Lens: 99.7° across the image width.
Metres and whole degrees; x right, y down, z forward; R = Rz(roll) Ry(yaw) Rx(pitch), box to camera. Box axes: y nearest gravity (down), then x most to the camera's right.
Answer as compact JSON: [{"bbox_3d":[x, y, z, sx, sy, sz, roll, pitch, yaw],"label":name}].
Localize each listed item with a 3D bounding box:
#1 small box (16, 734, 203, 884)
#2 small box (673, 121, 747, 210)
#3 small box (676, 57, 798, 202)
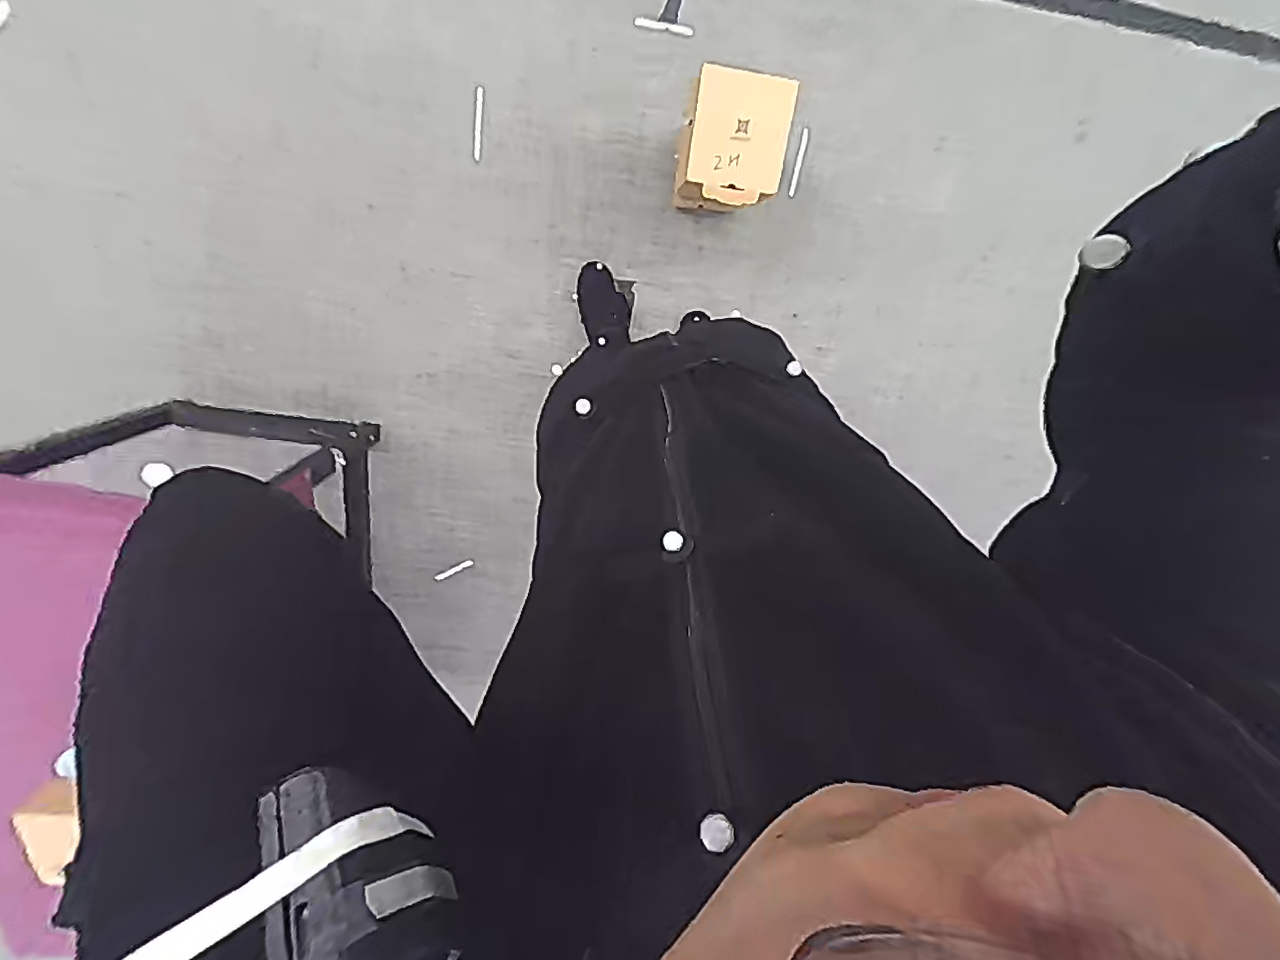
[{"bbox_3d":[-0.963,0.607,1.005,0.168,0.176,0.179,3,111,-4],"label":"small box"},{"bbox_3d":[0.174,-0.752,1.290,0.168,0.176,0.179,4,111,-4],"label":"small box"},{"bbox_3d":[0.165,-0.624,0.985,0.168,0.176,0.179,6,112,-6],"label":"small box"}]
